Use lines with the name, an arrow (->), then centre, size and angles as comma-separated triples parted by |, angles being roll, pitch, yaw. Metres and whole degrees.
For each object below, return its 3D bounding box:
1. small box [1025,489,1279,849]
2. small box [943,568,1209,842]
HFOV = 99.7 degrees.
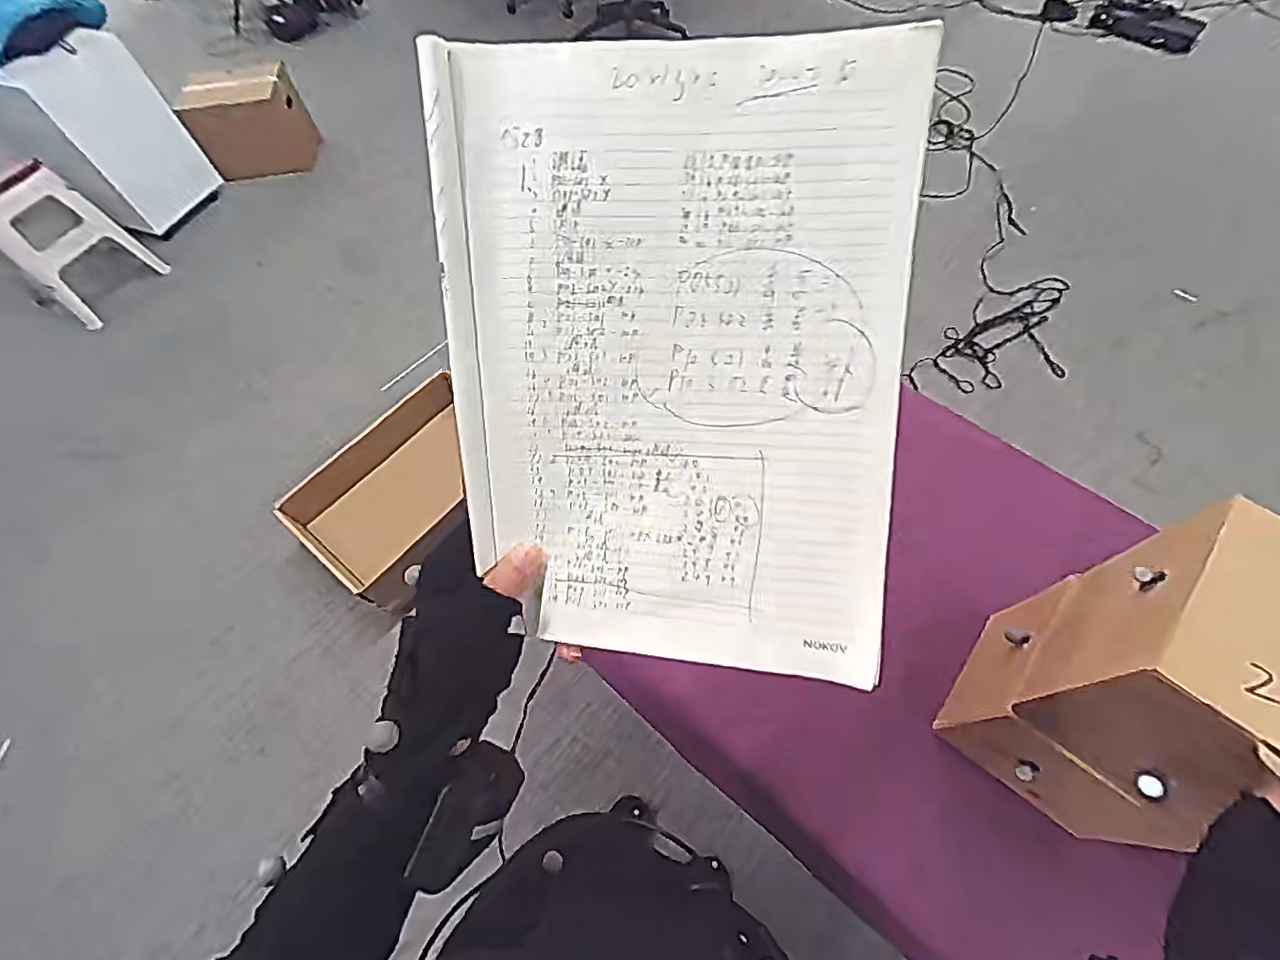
small box -> 0.447, 0.146, 0.414 | 0.168, 0.176, 0.179 | 39, 69, 22
small box -> 0.449, 0.229, 0.557 | 0.168, 0.176, 0.179 | 36, 68, 20
